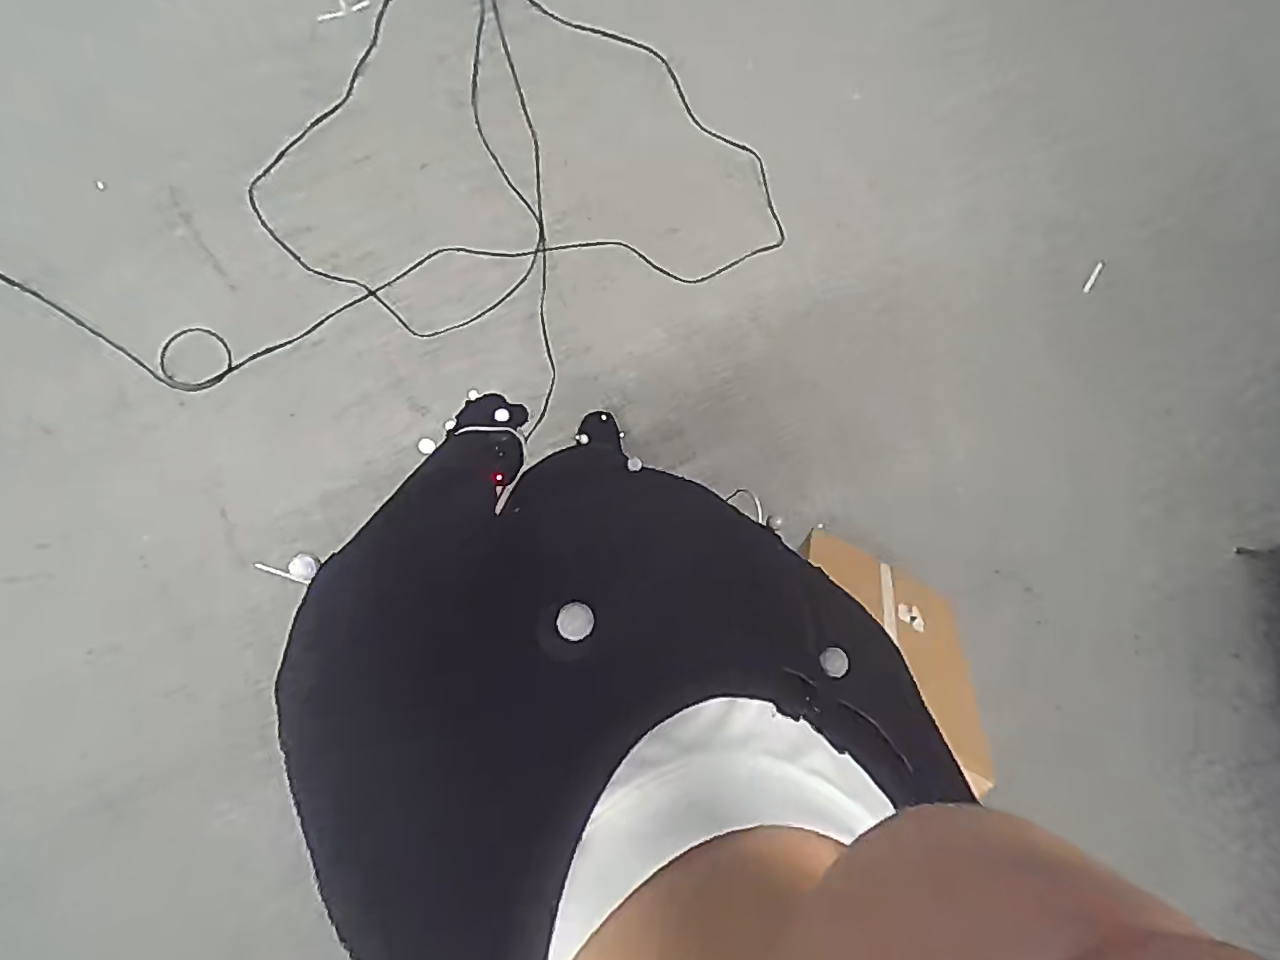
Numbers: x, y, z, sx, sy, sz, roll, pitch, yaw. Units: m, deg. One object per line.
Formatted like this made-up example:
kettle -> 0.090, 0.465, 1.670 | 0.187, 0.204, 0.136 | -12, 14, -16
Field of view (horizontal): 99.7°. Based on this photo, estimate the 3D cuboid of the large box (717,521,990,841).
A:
large box -> 0.374, 0.358, 1.023 | 0.320, 0.408, 0.320 | 28, 124, 4
